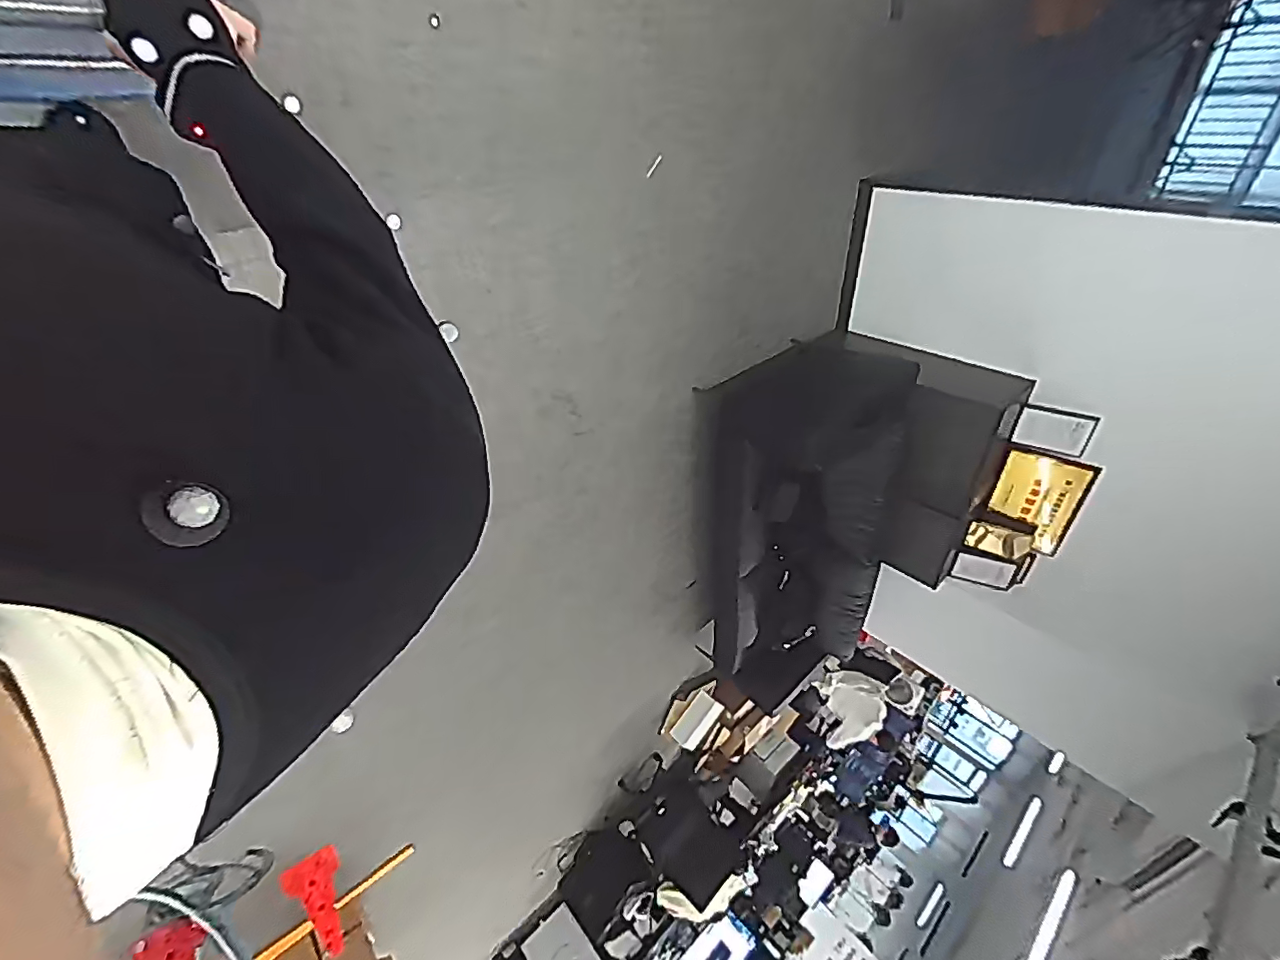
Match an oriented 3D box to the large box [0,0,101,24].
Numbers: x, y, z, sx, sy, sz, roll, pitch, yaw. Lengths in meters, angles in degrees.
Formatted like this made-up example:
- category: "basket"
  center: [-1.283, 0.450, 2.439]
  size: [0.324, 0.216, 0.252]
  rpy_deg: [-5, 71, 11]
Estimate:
- category: "large box"
  center: [-0.920, -0.796, 0.611]
  size: [0.320, 0.320, 0.408]
  rpy_deg: [-28, 132, -33]
